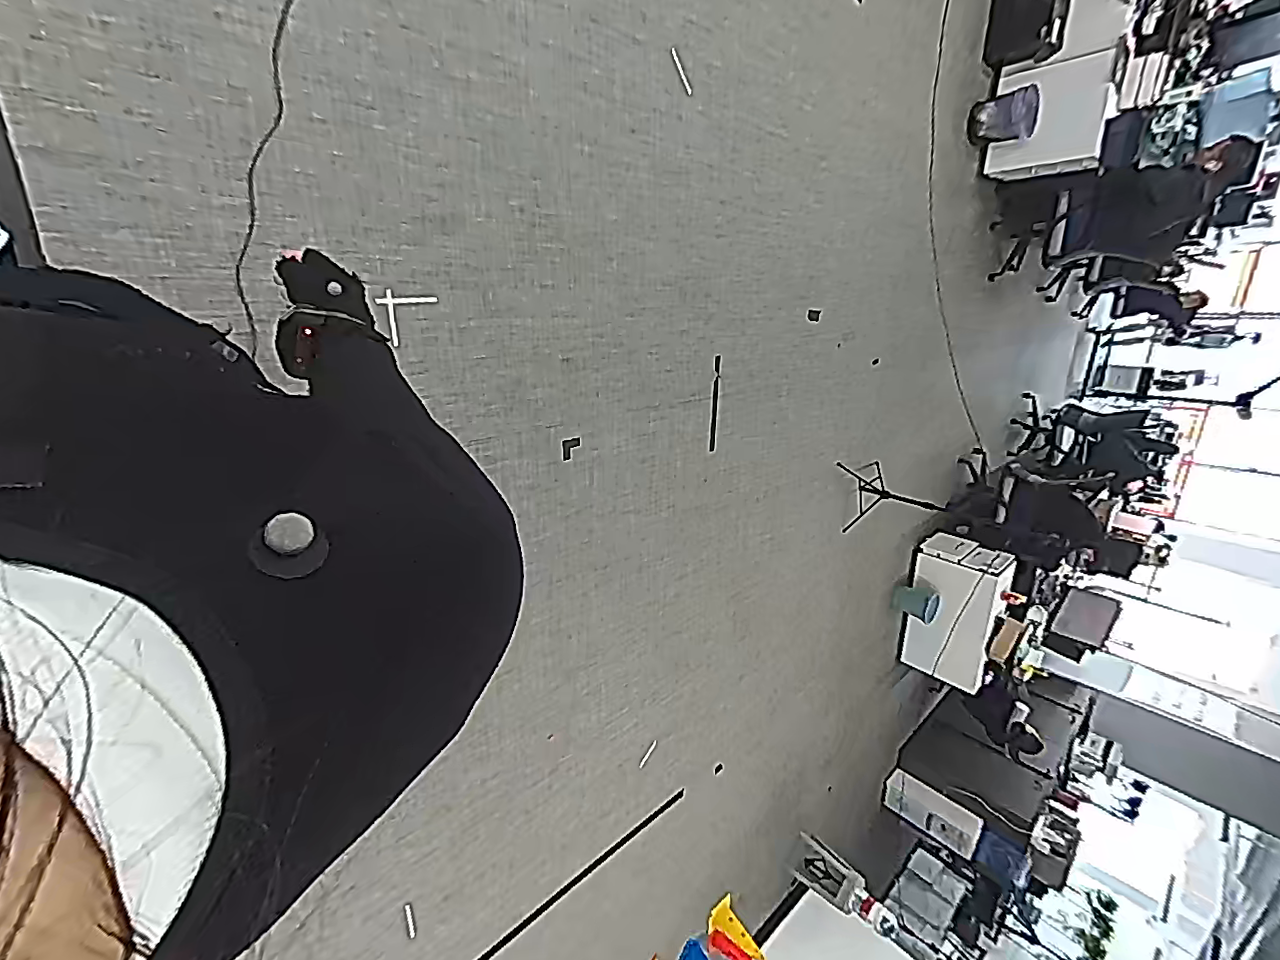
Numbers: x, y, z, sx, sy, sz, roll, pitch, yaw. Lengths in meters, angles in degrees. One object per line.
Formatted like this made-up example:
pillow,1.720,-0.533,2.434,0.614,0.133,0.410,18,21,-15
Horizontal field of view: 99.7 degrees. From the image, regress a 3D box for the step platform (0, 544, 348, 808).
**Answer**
step platform,-0.993,0.375,1.120,0.684,0.204,0.286,-17,113,-38
